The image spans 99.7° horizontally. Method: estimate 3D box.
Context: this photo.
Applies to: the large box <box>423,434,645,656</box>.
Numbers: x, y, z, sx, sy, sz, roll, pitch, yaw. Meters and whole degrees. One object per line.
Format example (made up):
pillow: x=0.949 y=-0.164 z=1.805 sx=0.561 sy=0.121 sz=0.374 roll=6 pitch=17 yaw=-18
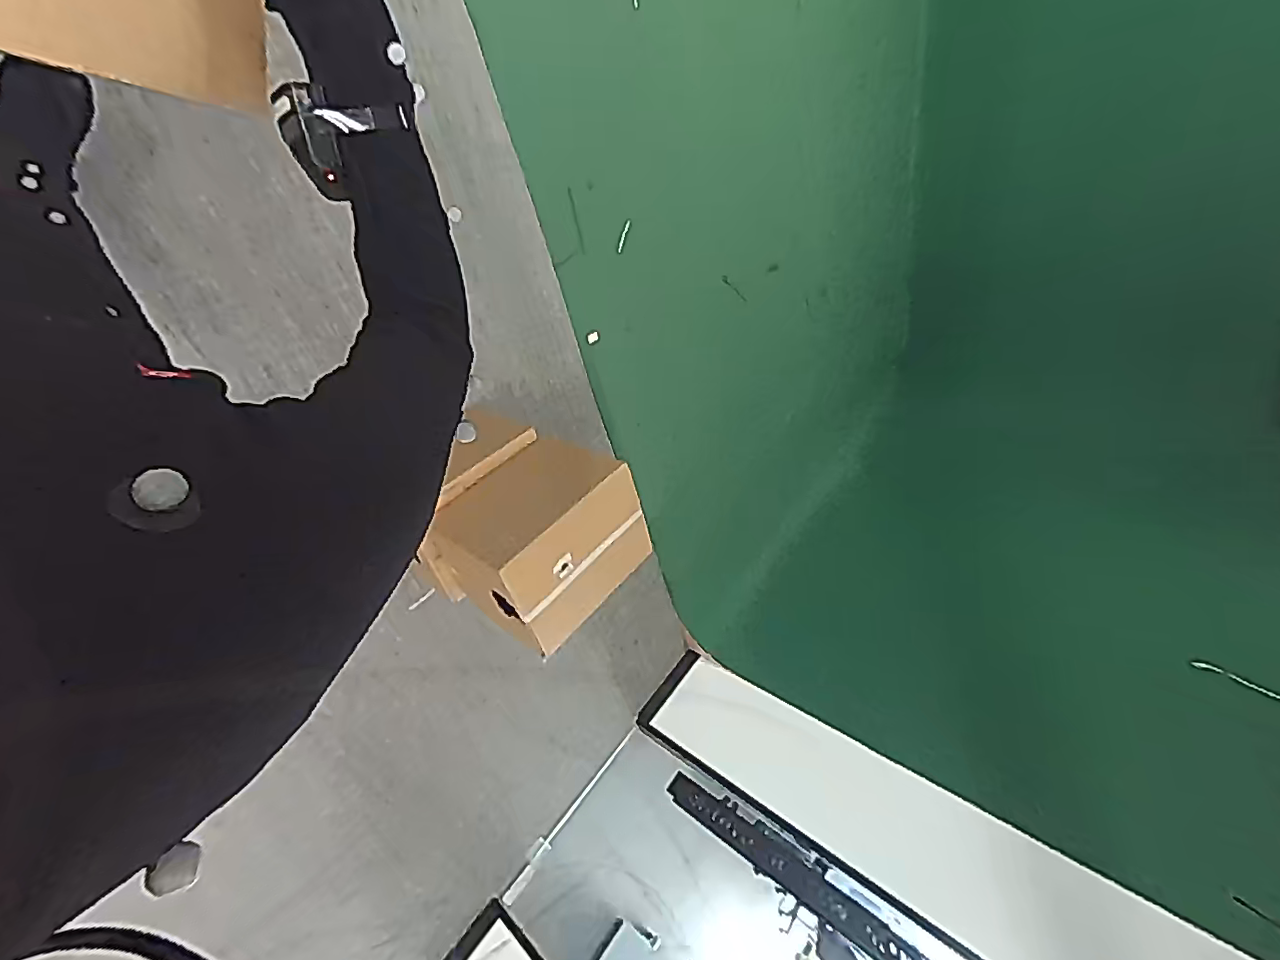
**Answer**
large box: x=-0.248 y=0.141 z=1.364 sx=0.408 sy=0.320 sz=0.320 roll=-41 pitch=135 yaw=-31
